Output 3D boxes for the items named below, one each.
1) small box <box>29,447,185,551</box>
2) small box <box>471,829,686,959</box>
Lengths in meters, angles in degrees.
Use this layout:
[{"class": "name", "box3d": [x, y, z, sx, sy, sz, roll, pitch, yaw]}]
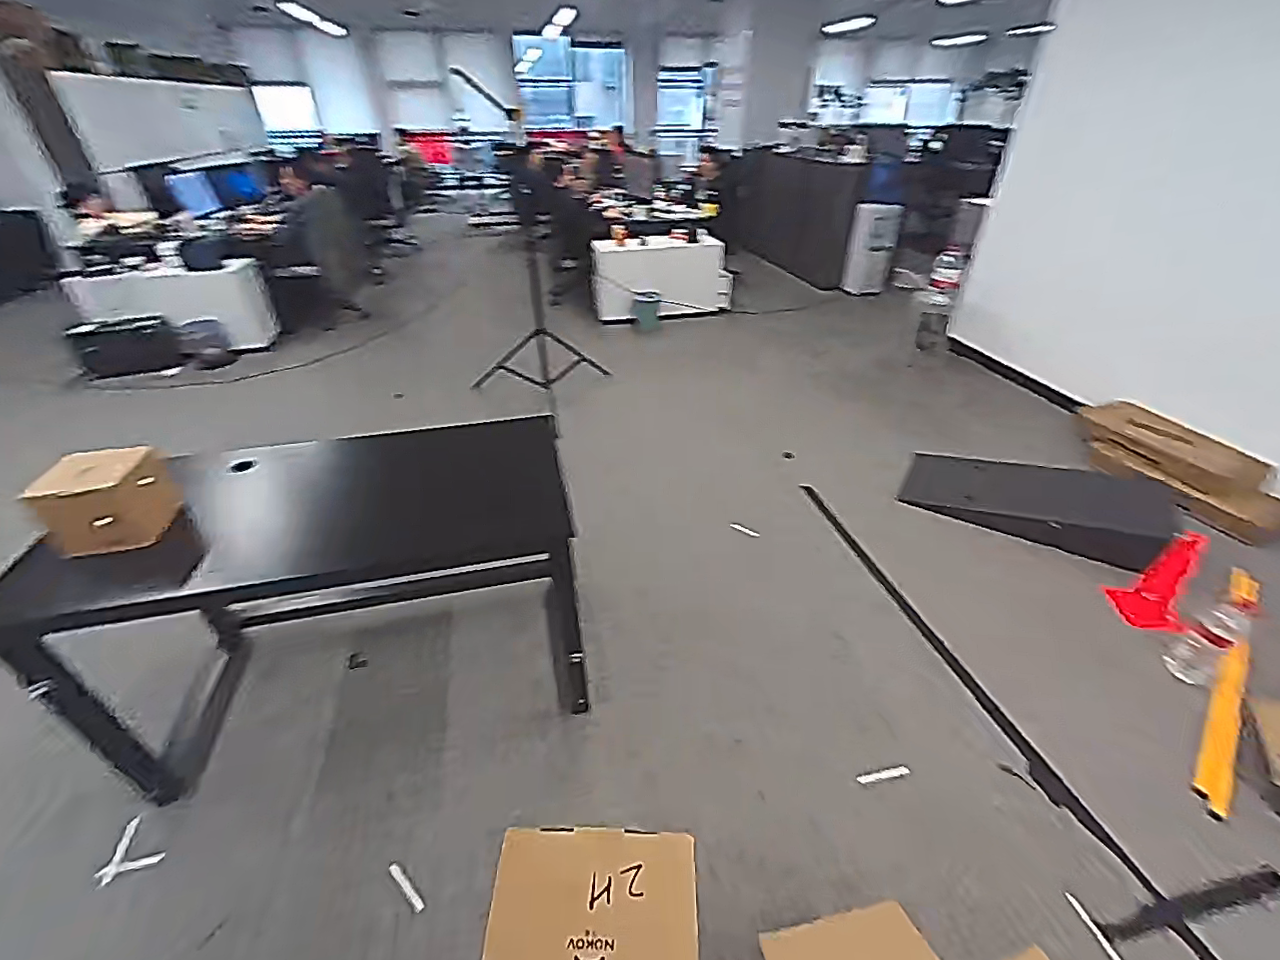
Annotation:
[{"class": "small box", "box3d": [-1.190, 0.047, 1.229, 0.168, 0.176, 0.179, -7, 34, -12]}, {"class": "small box", "box3d": [-0.046, 0.421, 0.458, 0.168, 0.176, 0.179, 1, 41, -1]}]
